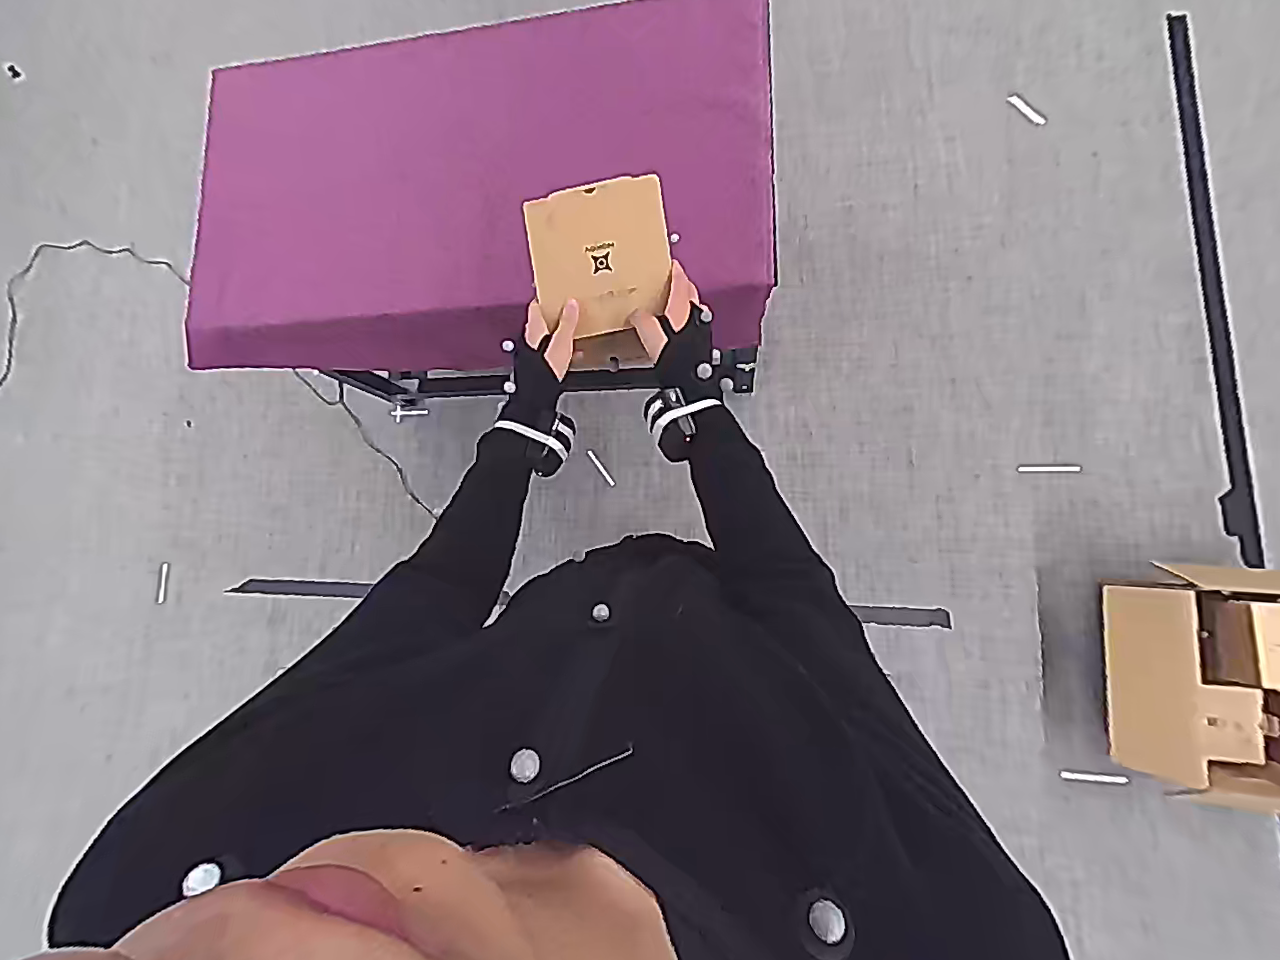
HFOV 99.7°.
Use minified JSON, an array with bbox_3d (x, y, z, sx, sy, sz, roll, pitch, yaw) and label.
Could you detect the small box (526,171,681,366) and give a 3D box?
[{"bbox_3d":[-0.039,-0.265,0.715,0.168,0.176,0.179,-9,89,6],"label":"small box"}]
